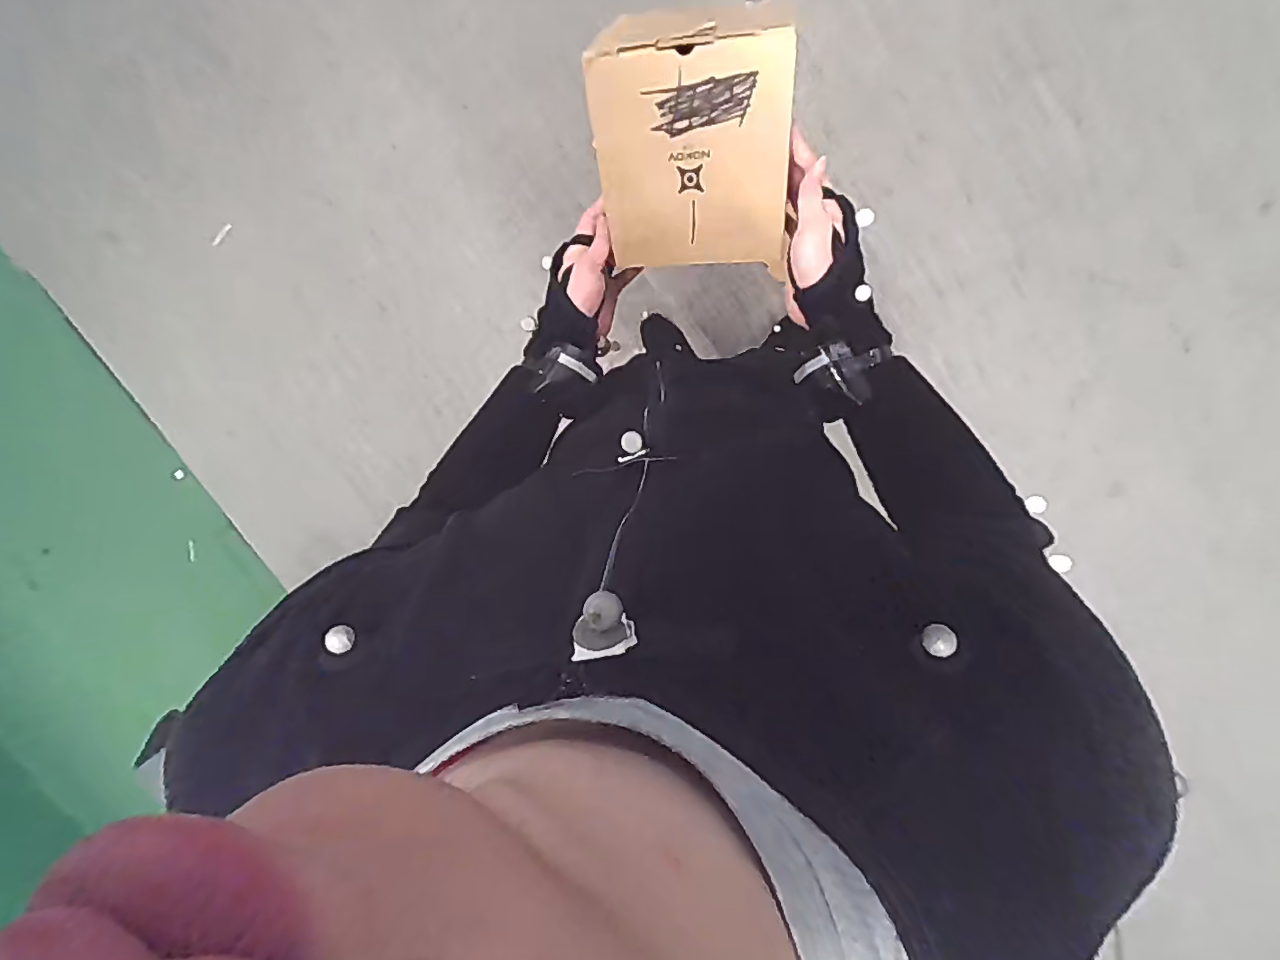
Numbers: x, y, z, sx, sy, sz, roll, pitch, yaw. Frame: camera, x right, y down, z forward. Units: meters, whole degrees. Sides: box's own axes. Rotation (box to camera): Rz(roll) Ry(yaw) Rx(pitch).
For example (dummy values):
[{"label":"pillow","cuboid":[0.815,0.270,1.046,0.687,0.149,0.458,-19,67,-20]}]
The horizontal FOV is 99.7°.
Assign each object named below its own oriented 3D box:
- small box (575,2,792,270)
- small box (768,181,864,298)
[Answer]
[{"label":"small box","cuboid":[0.051,-0.323,0.512,0.168,0.176,0.179,3,140,13]},{"label":"small box","cuboid":[0.382,-0.541,1.236,0.168,0.176,0.179,43,116,-3]}]
